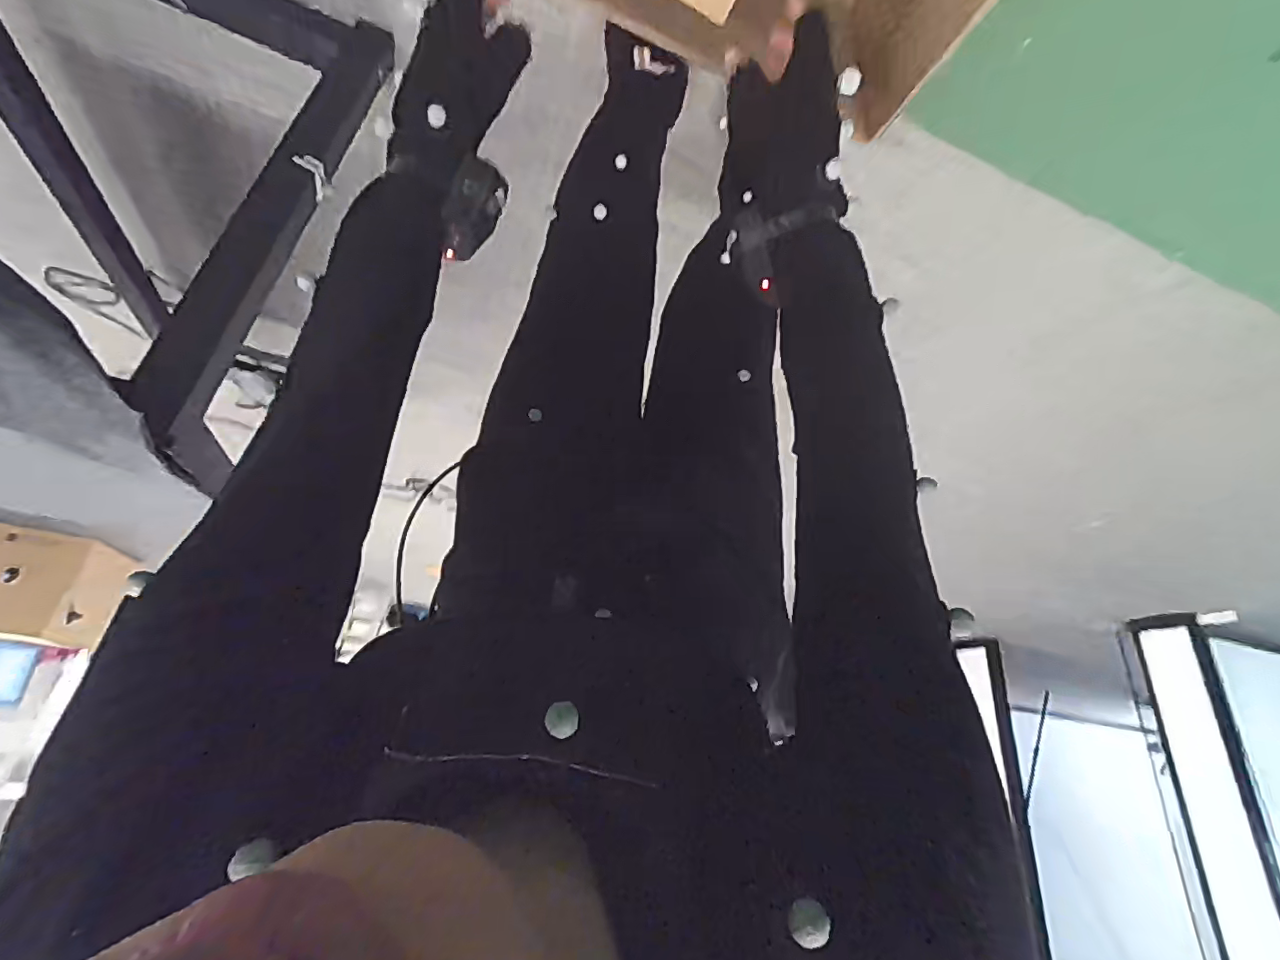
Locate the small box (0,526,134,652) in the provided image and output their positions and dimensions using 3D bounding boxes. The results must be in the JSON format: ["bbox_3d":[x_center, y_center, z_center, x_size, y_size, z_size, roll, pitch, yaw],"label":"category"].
[{"bbox_3d":[-1.032,0.189,0.923,0.168,0.176,0.179,15,154,-16],"label":"small box"}]
